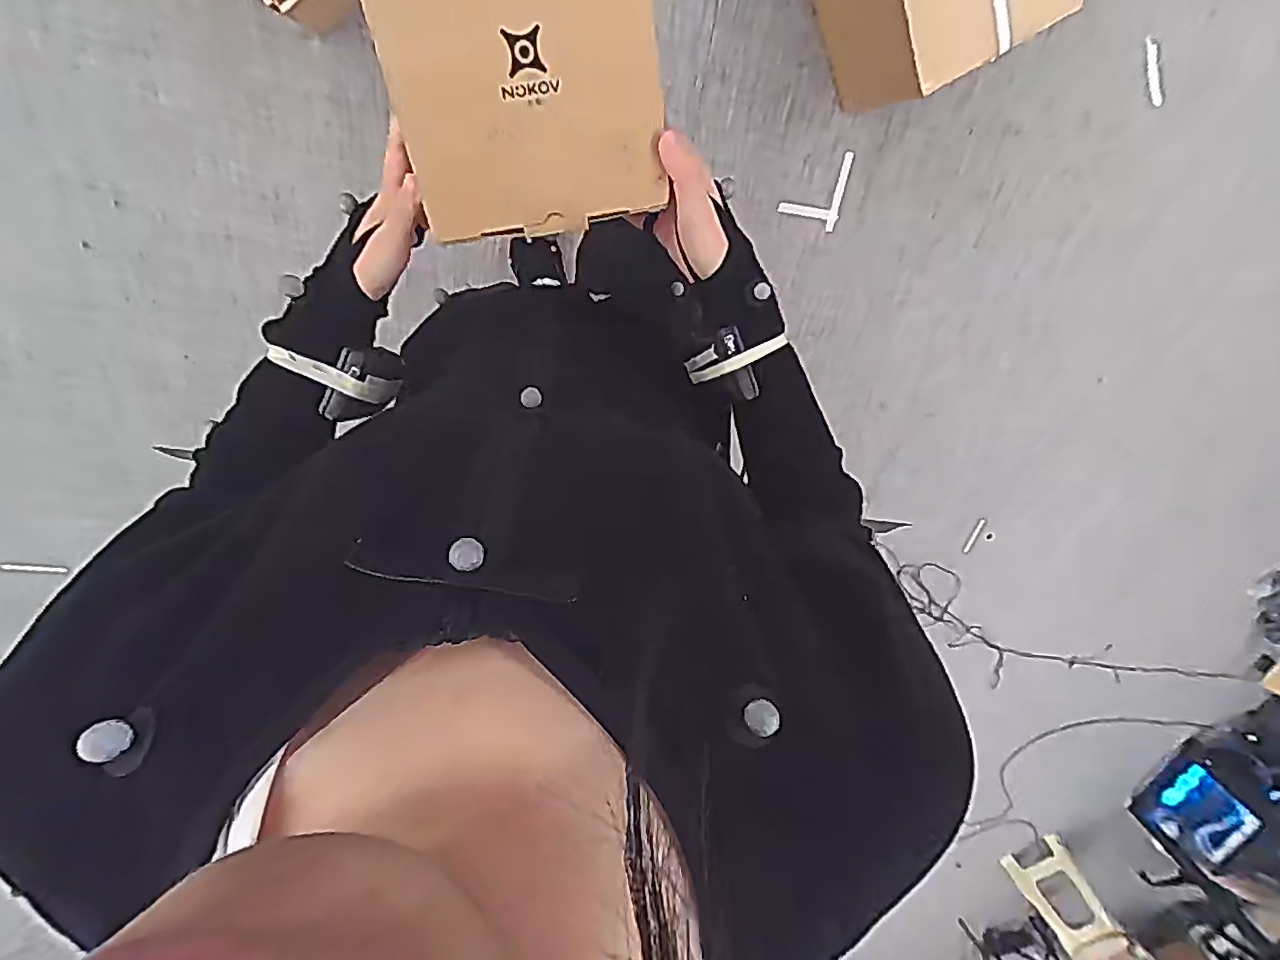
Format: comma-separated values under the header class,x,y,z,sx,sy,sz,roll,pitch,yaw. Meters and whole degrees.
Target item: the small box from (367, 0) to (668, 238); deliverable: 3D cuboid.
class,x,y,z,sx,sy,sz,roll,pitch,yaw
small box,-0.085,-0.290,0.393,0.168,0.176,0.179,-13,121,-8
